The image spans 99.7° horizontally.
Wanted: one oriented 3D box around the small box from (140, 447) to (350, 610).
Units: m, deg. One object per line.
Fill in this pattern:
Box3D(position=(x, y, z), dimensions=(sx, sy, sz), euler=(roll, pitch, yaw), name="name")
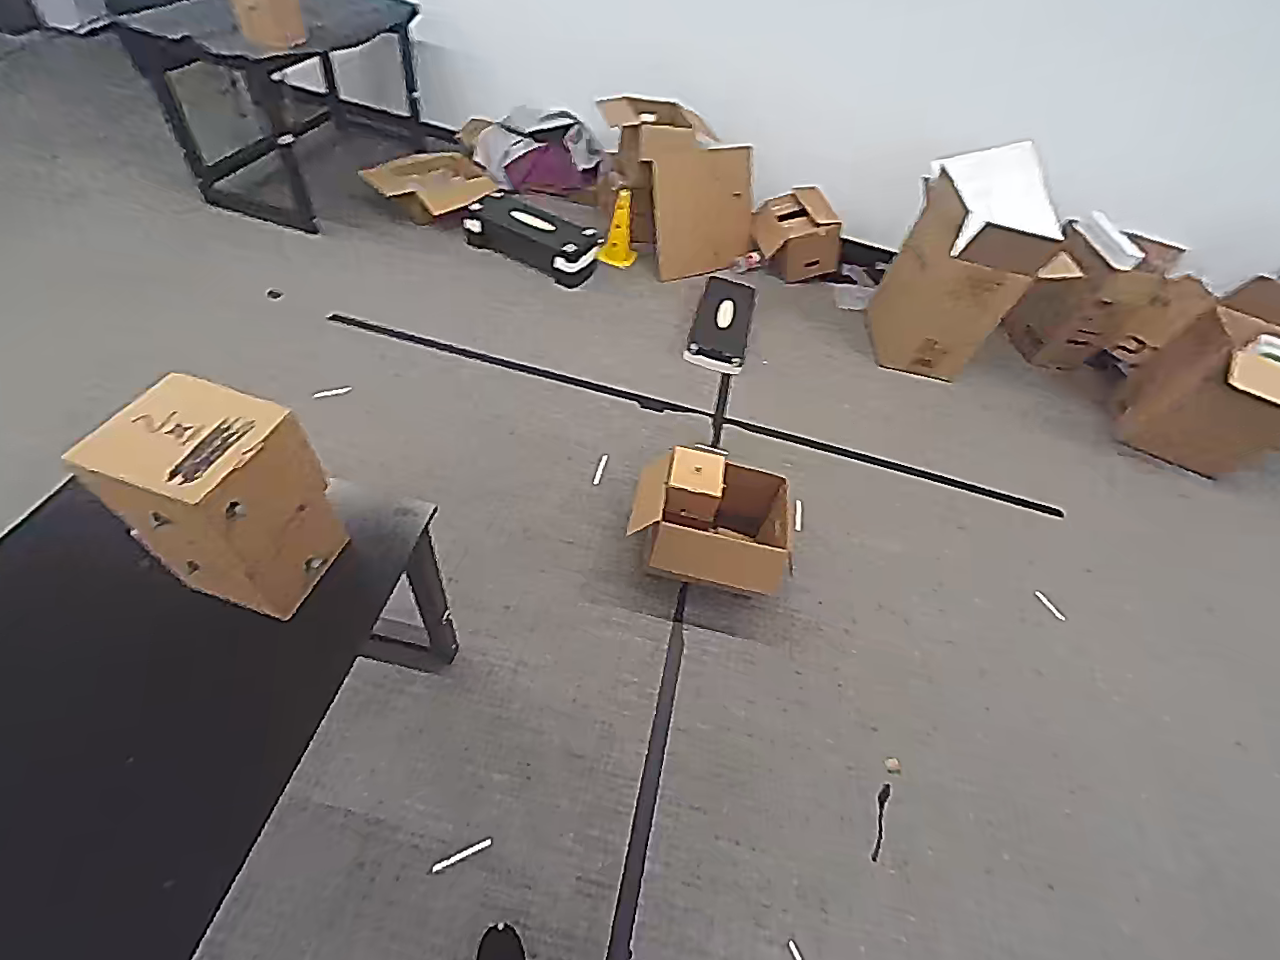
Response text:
Box3D(position=(-0.598, 0.081, 0.848), dimensions=(0.179, 0.176, 0.168), euler=(19, 52, 3), name="small box")
